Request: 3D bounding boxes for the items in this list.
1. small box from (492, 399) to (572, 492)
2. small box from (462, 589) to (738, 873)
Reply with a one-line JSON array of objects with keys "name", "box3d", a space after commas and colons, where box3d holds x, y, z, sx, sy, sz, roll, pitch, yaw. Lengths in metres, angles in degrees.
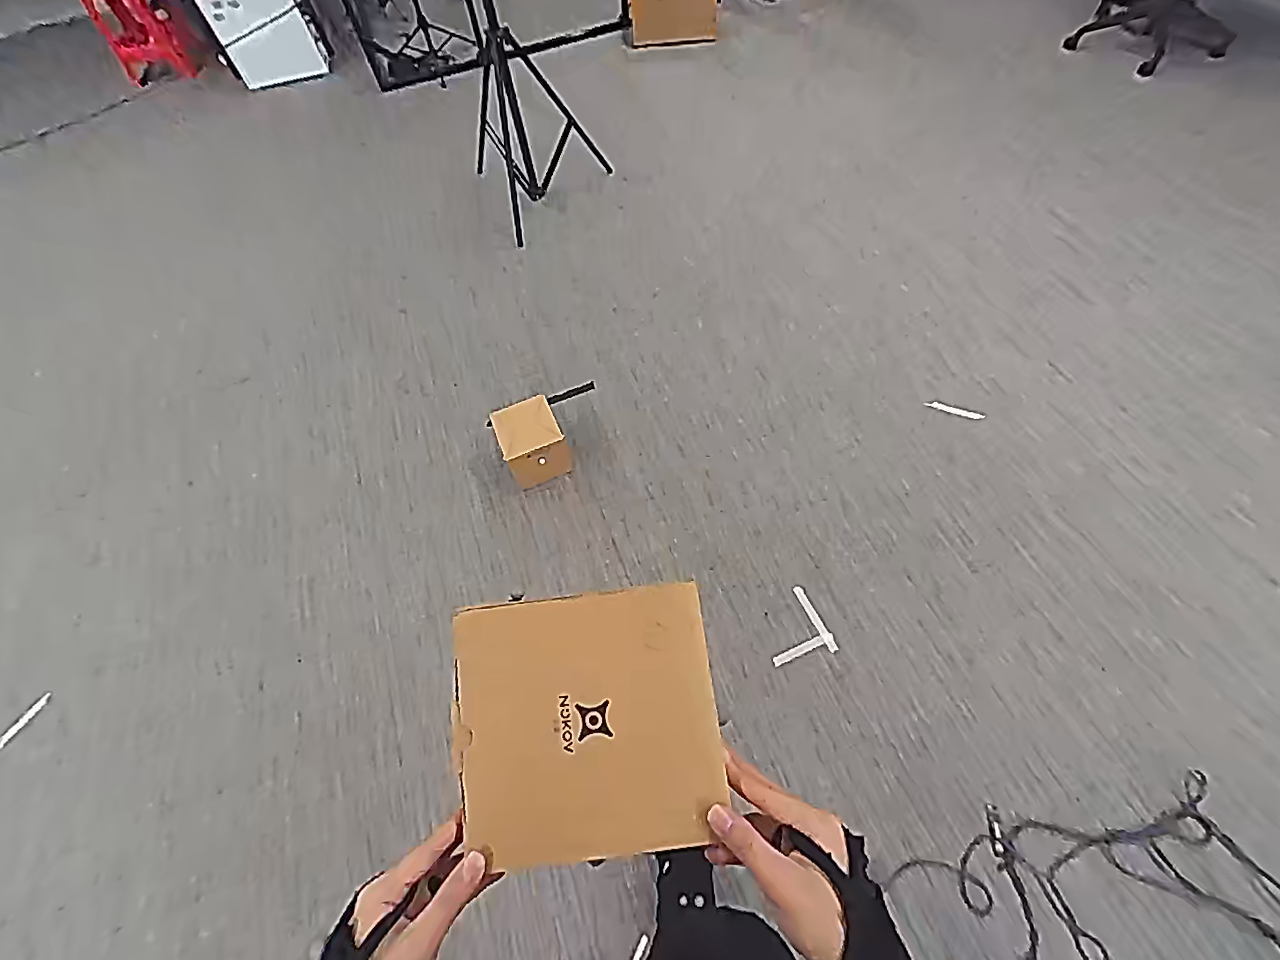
[{"name": "small box", "box3d": [-0.312, -0.102, 1.558, 0.168, 0.176, 0.179, -23, 60, -8]}, {"name": "small box", "box3d": [-0.030, 0.181, 0.442, 0.179, 0.176, 0.168, -7, 76, 0]}]
